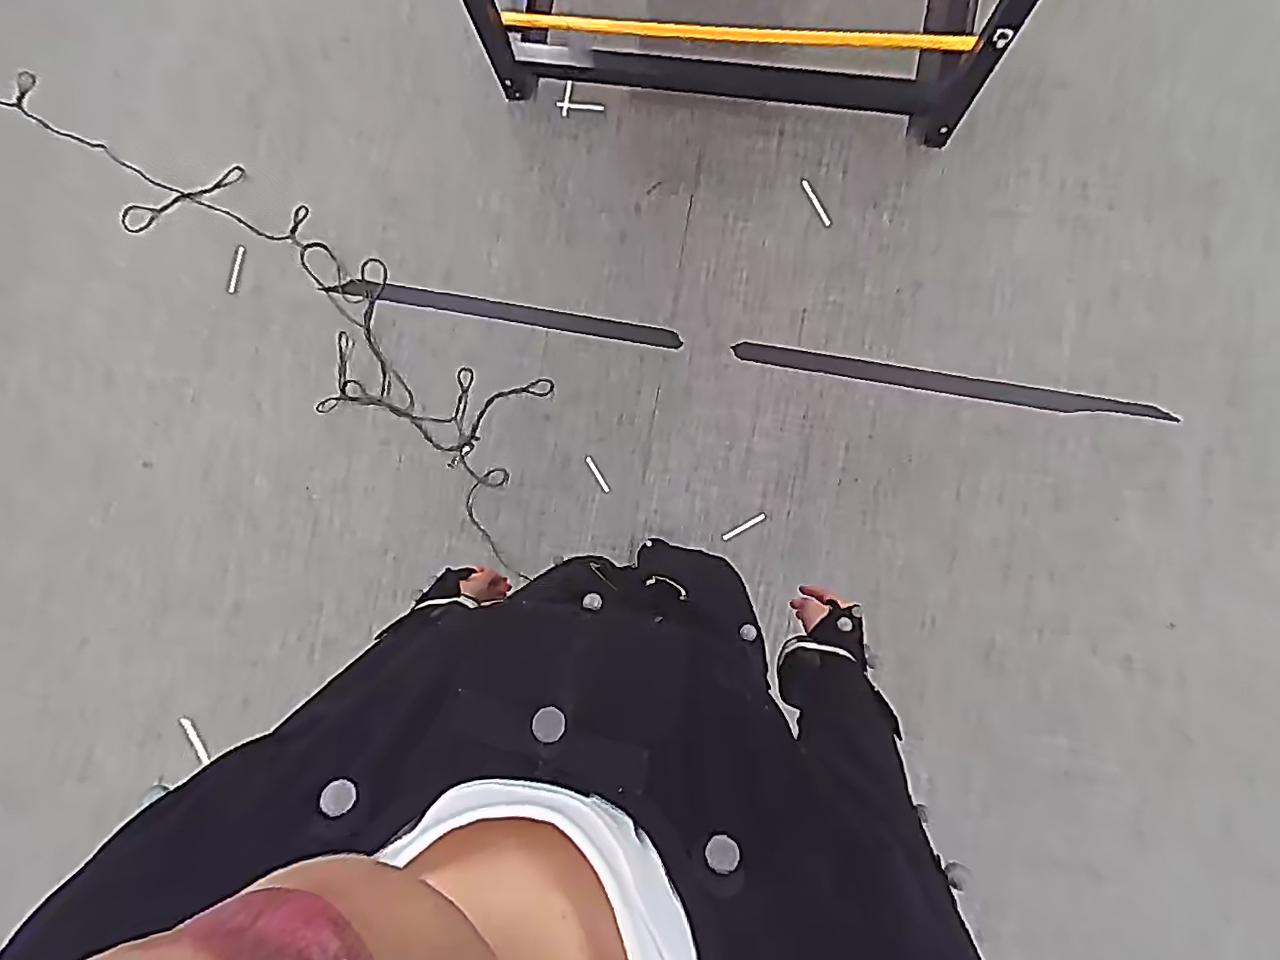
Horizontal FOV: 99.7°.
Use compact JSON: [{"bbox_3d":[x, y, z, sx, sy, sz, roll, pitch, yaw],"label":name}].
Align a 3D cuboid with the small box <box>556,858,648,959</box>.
[{"bbox_3d":[-0.083,1.026,1.263,0.179,0.176,0.168,9,87,5],"label":"small box"}]
